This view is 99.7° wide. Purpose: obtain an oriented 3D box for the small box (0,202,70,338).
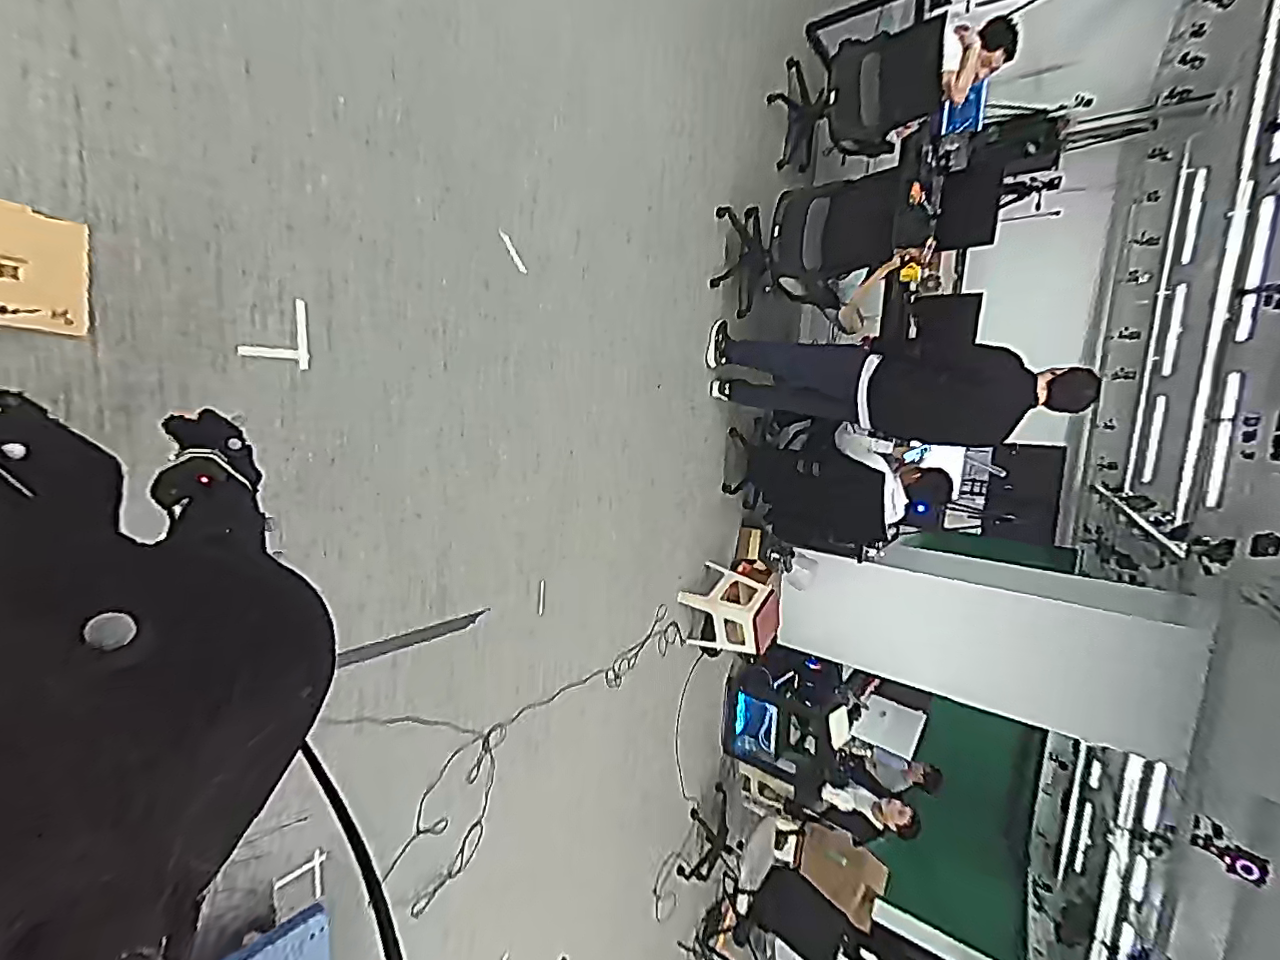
[{"bbox_3d":[-1.000,-0.322,0.816,0.168,0.176,0.179,0,95,-56],"label":"small box"}]
